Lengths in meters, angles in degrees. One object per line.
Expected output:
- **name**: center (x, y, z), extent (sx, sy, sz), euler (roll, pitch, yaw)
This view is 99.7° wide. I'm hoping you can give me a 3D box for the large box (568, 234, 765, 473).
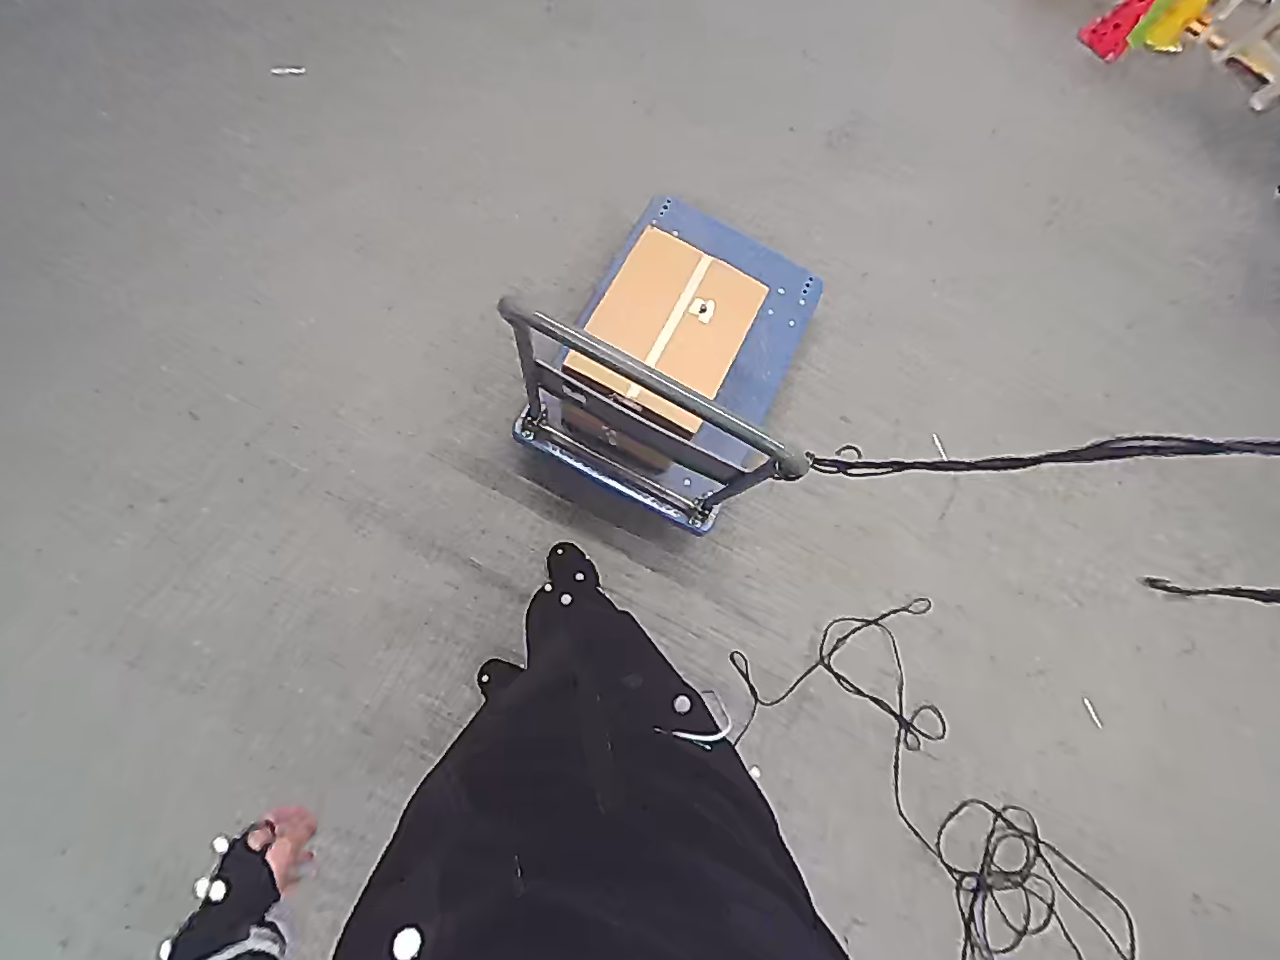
- **large box**: center (0.047, -0.286, 1.314), extent (0.320, 0.320, 0.408), euler (28, 73, -1)
